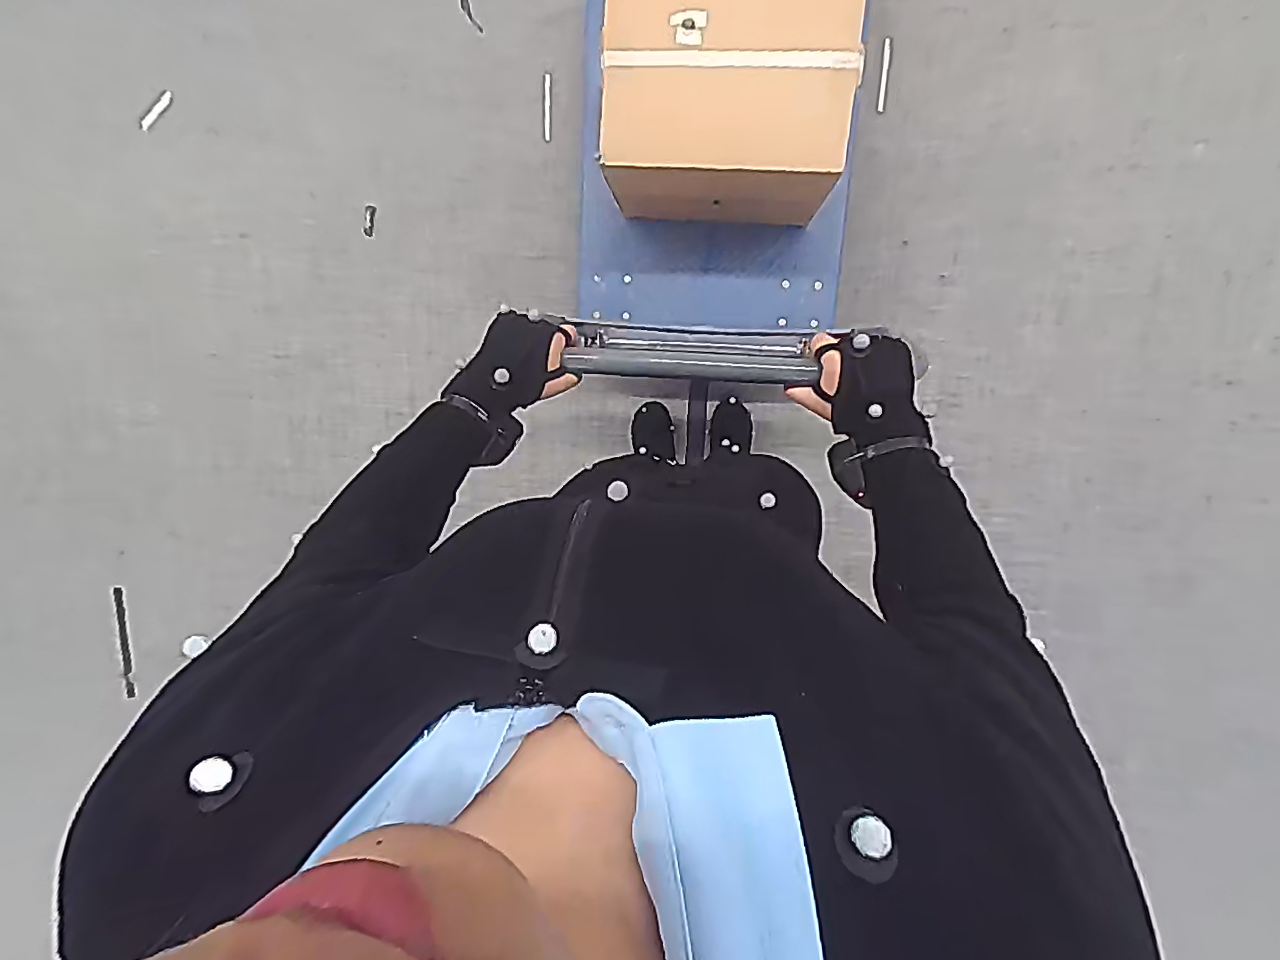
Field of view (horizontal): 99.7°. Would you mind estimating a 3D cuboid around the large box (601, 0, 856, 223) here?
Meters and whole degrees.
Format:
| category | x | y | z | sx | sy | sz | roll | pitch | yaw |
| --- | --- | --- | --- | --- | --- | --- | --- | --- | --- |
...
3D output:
| category | x | y | z | sx | sy | sz | roll | pitch | yaw |
| --- | --- | --- | --- | --- | --- | --- | --- | --- | --- |
| large box | 0.156 | -0.692 | 1.024 | 0.408 | 0.320 | 0.320 | 5 | 100 | 6 |
